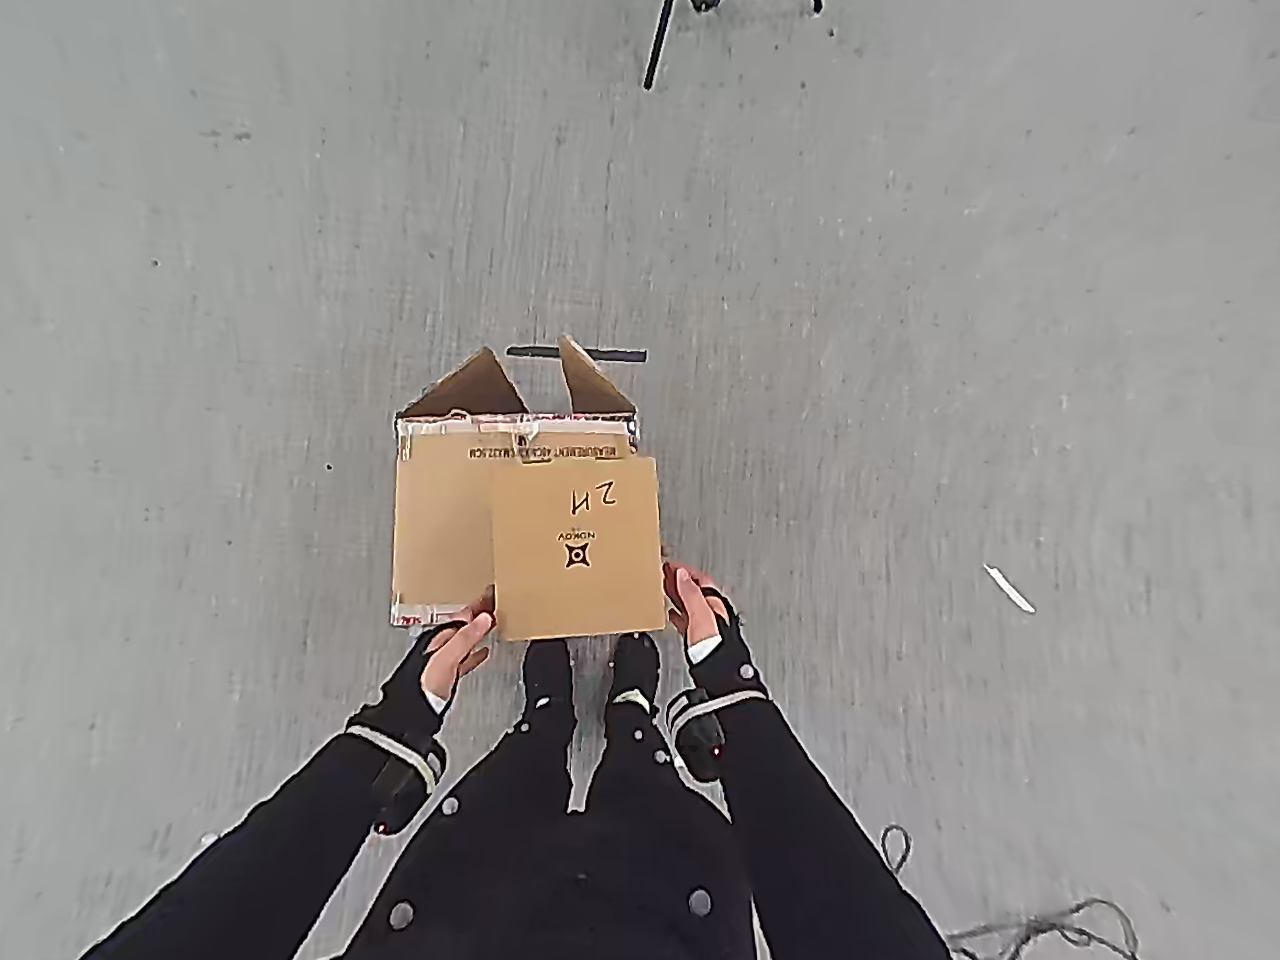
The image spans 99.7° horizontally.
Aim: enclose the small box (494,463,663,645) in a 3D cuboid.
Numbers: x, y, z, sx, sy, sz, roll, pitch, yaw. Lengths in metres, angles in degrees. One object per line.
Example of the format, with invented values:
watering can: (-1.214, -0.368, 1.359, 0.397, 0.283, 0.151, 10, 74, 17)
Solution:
small box: (-0.067, 0.079, 0.616, 0.168, 0.176, 0.179, -3, 84, -5)
